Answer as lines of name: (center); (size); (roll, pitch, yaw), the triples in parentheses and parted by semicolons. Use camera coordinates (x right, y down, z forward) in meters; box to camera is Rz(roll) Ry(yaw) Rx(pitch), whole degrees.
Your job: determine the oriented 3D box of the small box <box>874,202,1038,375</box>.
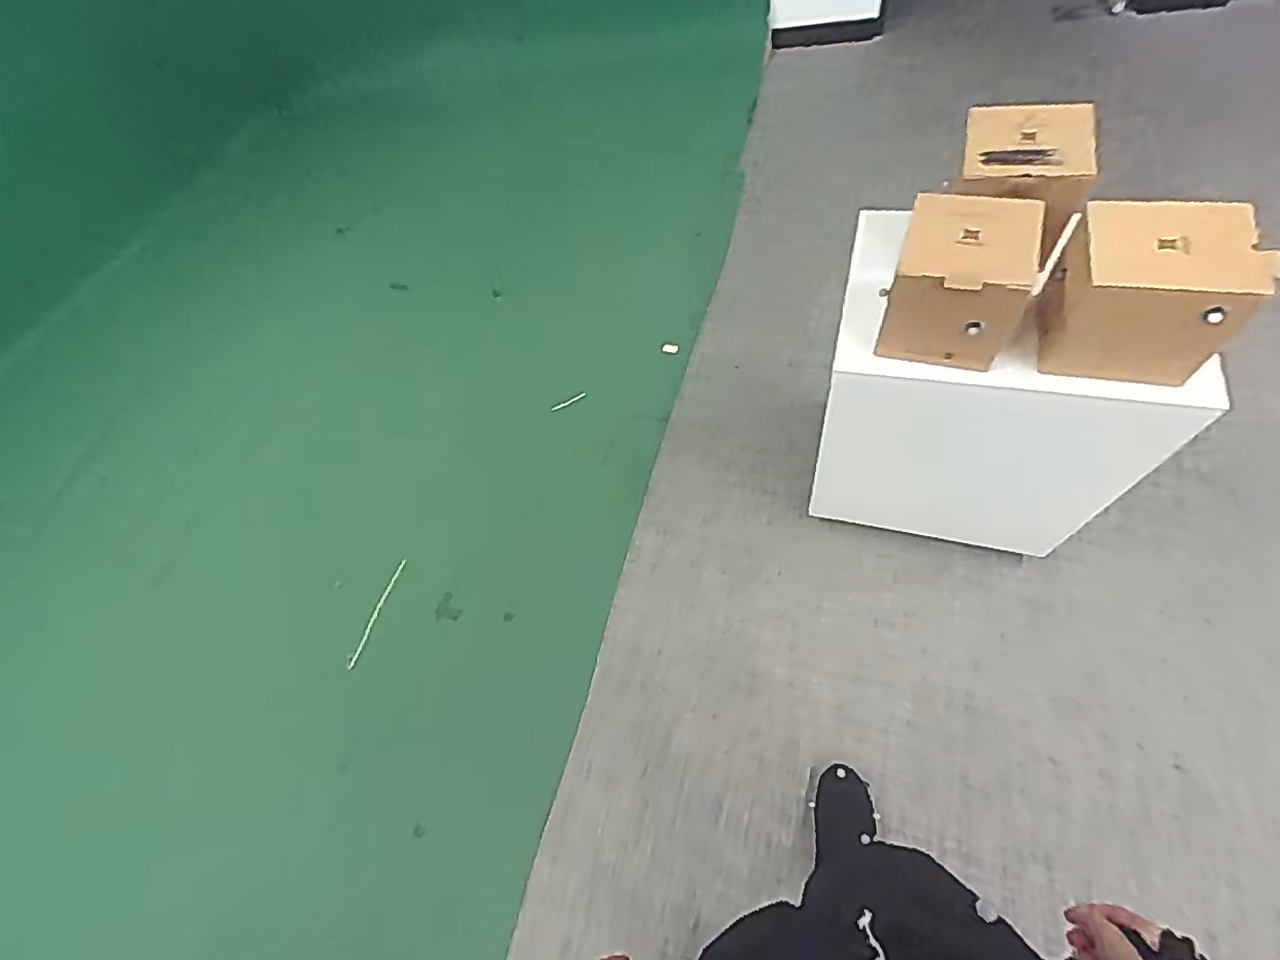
small box: (0.463, -0.282, 0.811); (0.168, 0.176, 0.179); (15, 63, 18)
